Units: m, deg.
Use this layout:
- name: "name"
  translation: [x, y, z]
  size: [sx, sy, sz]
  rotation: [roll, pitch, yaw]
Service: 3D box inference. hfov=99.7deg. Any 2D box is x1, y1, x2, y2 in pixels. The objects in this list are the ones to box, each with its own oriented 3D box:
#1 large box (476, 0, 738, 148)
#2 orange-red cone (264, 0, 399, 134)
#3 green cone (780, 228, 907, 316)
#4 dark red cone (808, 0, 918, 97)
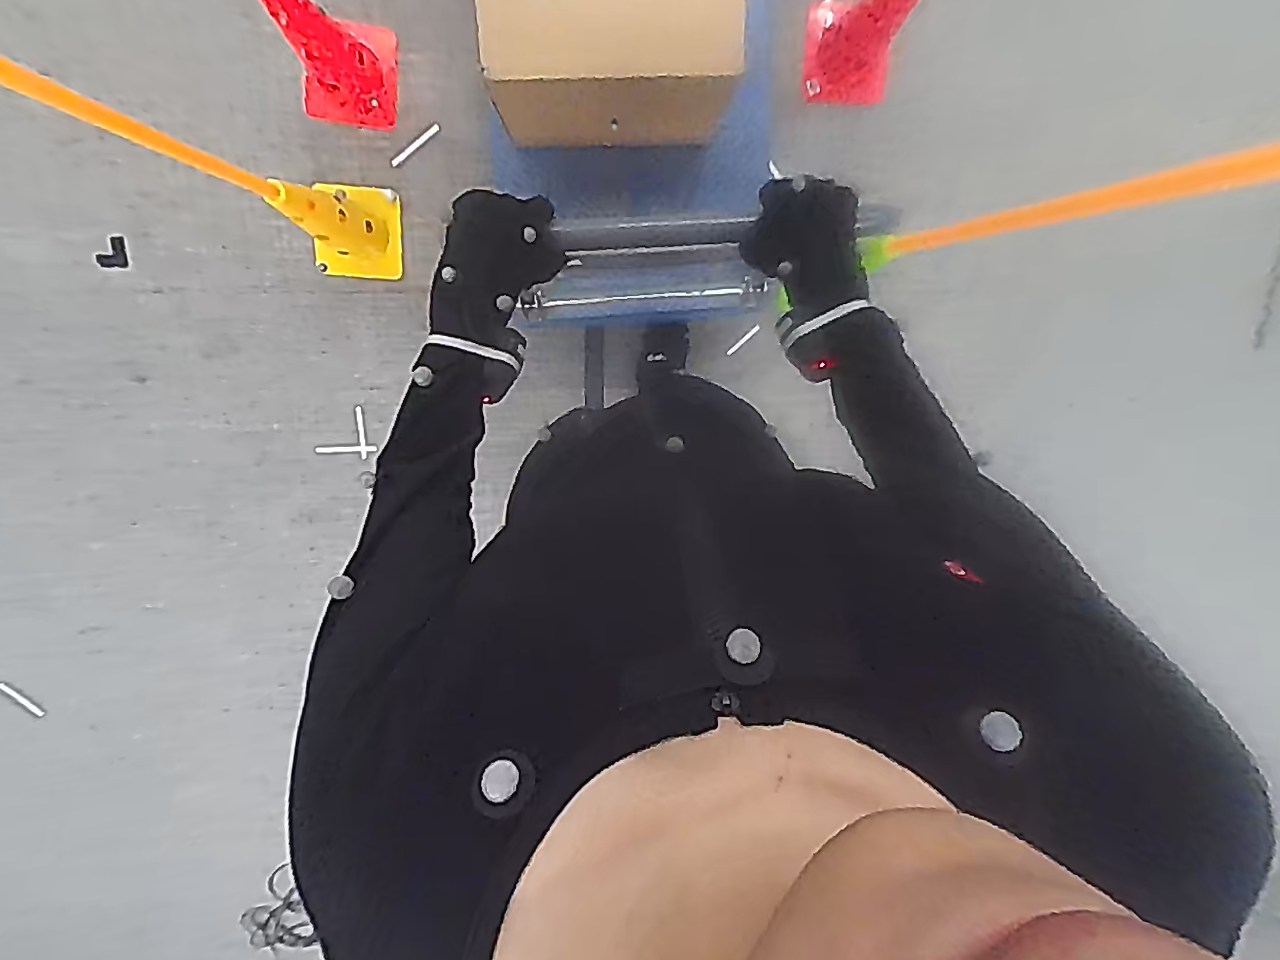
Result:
- name: "large box"
  translation: [-0.055, -0.806, 0.948]
  size: [0.408, 0.320, 0.320]
  rotation: [-3, 104, -2]
- name: "orange-red cone"
  translation: [-0.632, -0.862, 1.048]
  size: [0.198, 0.360, 0.199]
  rotation: [6, 102, -6]
- name: "green cone"
  translation: [0.474, -0.487, 1.208]
  size: [0.202, 0.368, 0.200]
  rotation: [3, 103, -6]
- name: "dark red cone"
  translation: [0.498, -0.954, 1.078]
  size: [0.201, 0.394, 0.202]
  rotation: [-1, 104, -5]
